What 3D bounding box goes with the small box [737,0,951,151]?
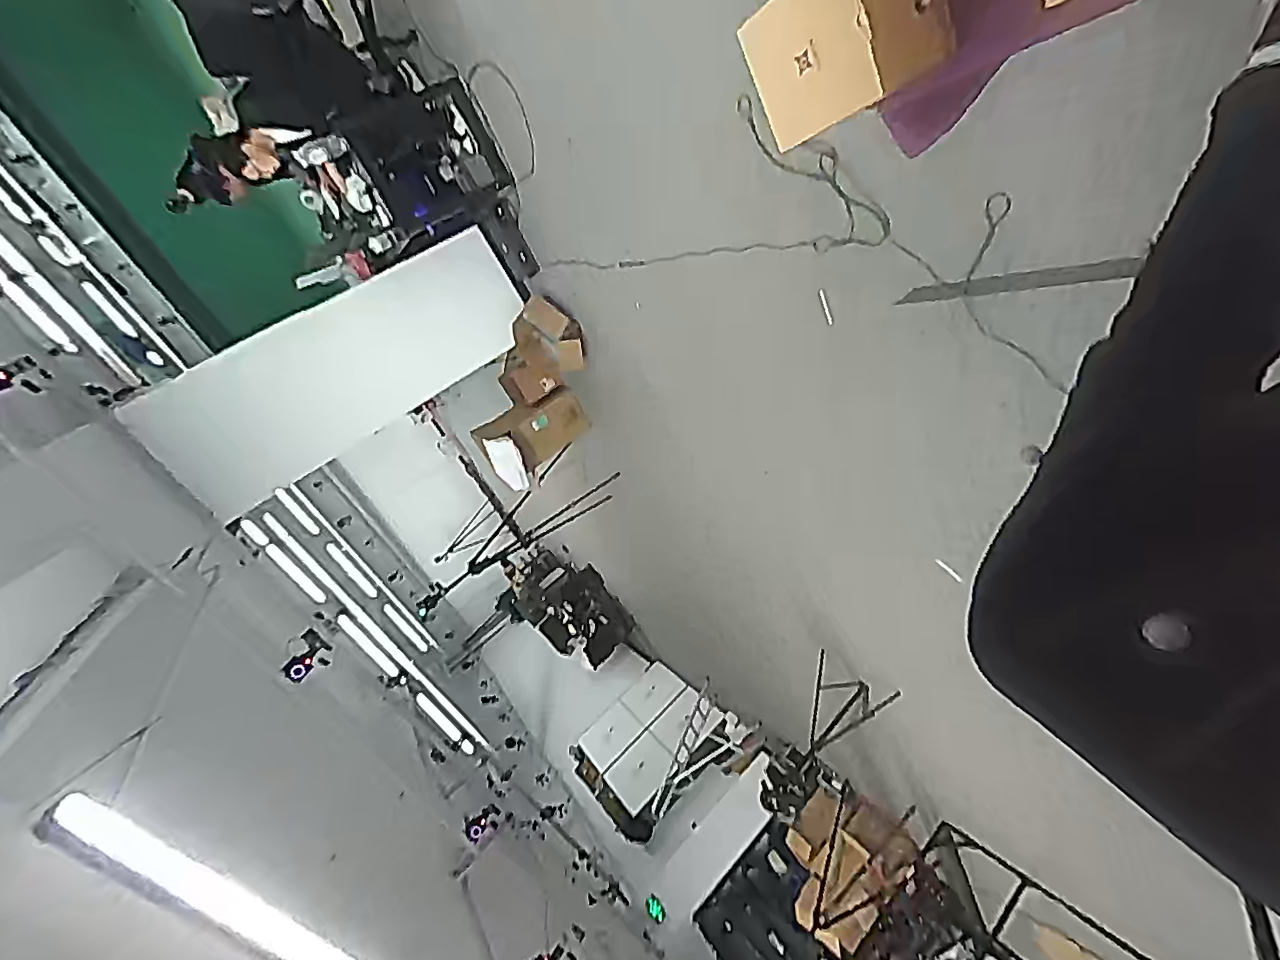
[{"bbox_3d":[0.268,-0.581,0.715,0.179,0.176,0.168,11,136,59],"label":"small box"}]
